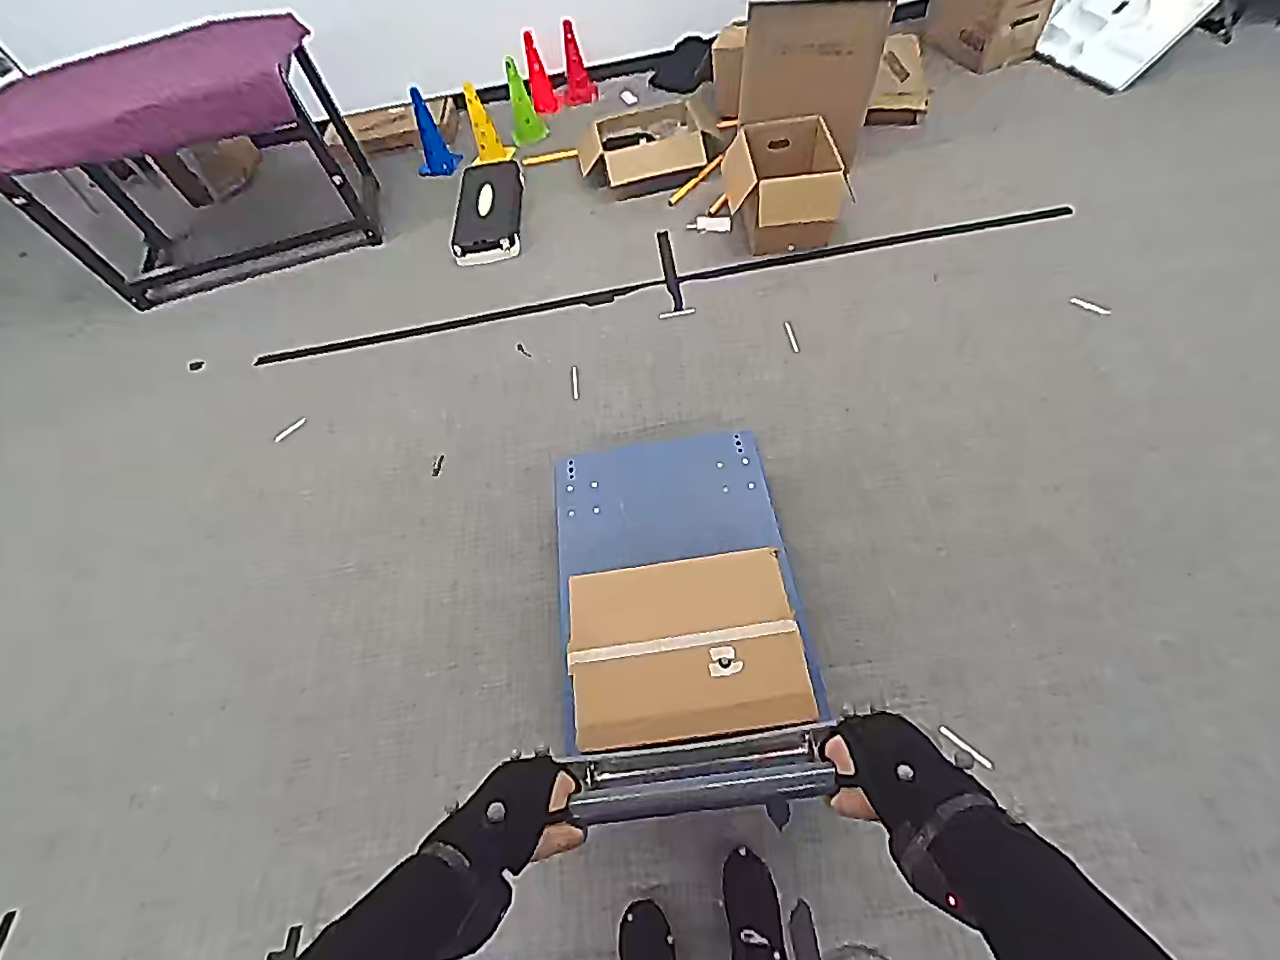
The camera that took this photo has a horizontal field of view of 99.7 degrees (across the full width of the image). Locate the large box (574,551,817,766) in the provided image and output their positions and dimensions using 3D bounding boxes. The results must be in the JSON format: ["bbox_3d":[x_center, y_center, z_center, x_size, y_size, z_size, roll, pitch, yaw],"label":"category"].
[{"bbox_3d":[0.096,0.377,1.109,0.408,0.320,0.320,-9,59,1],"label":"large box"}]
